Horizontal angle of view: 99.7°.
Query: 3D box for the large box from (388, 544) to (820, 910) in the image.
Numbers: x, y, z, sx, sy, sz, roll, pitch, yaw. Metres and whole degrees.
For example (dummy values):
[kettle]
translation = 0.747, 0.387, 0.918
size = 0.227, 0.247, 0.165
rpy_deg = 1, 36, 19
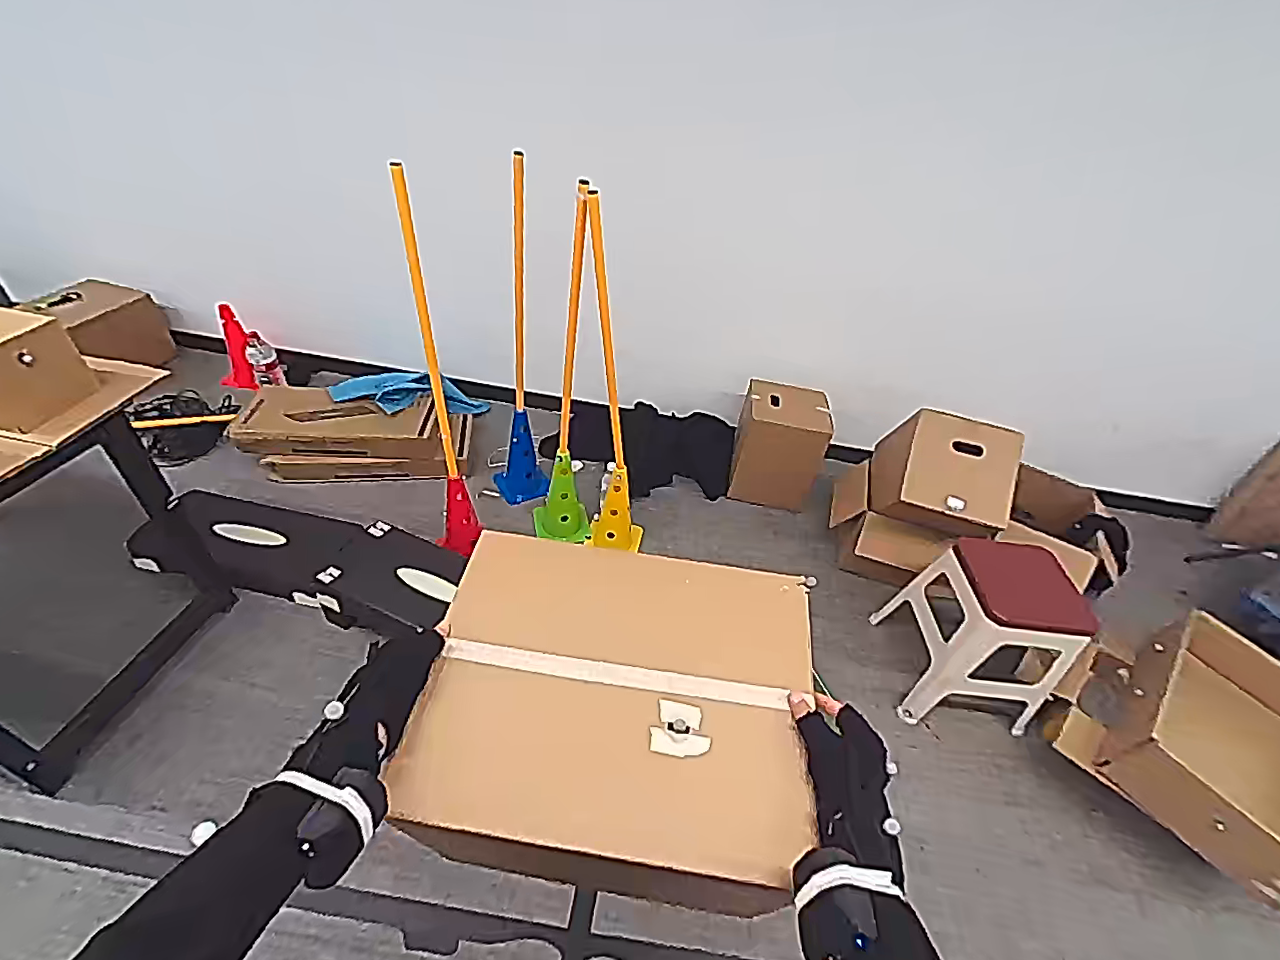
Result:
[large box]
translation = -0.028, 0.316, 0.692
size = 0.408, 0.320, 0.320
rpy_deg = 8, 48, 3
